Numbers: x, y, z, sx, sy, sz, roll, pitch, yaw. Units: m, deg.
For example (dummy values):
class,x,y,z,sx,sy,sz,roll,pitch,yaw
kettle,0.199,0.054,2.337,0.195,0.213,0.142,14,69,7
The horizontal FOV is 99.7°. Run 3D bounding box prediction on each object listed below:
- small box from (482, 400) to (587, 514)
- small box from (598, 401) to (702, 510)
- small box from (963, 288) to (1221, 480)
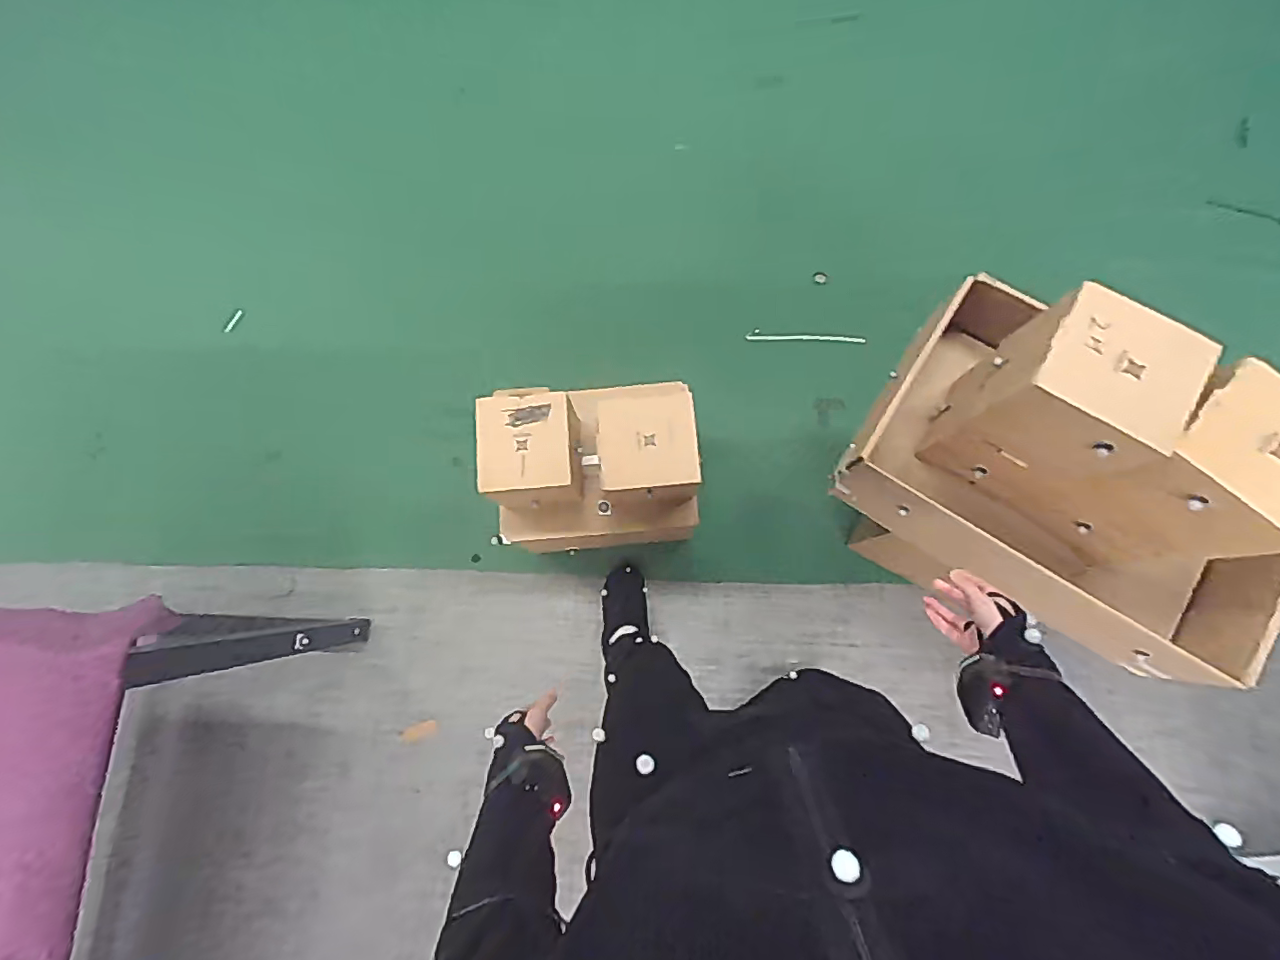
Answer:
class,x,y,z,sx,sy,sz,roll,pitch,yaw
small box,-0.197,-0.038,1.037,0.168,0.176,0.179,-5,78,2
small box,0.022,-0.040,1.027,0.179,0.176,0.168,-5,79,2
small box,0.590,-0.115,0.731,0.179,0.176,0.168,32,80,9
